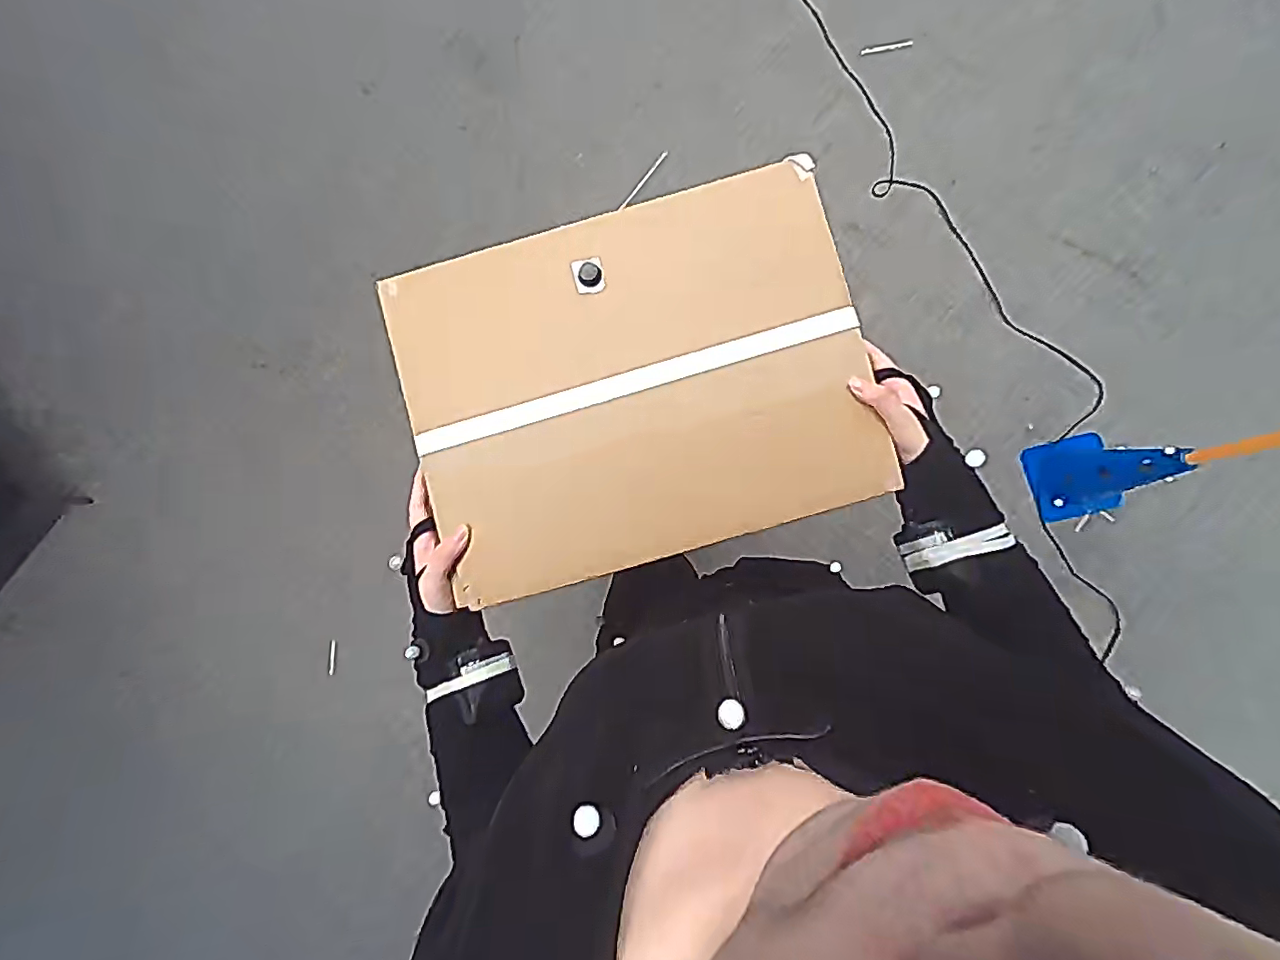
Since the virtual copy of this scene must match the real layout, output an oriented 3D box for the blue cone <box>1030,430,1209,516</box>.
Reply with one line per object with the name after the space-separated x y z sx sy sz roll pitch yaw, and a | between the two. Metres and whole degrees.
1.090 -0.032 1.204 0.192 0.380 0.193 -17 84 6 | blue cone
